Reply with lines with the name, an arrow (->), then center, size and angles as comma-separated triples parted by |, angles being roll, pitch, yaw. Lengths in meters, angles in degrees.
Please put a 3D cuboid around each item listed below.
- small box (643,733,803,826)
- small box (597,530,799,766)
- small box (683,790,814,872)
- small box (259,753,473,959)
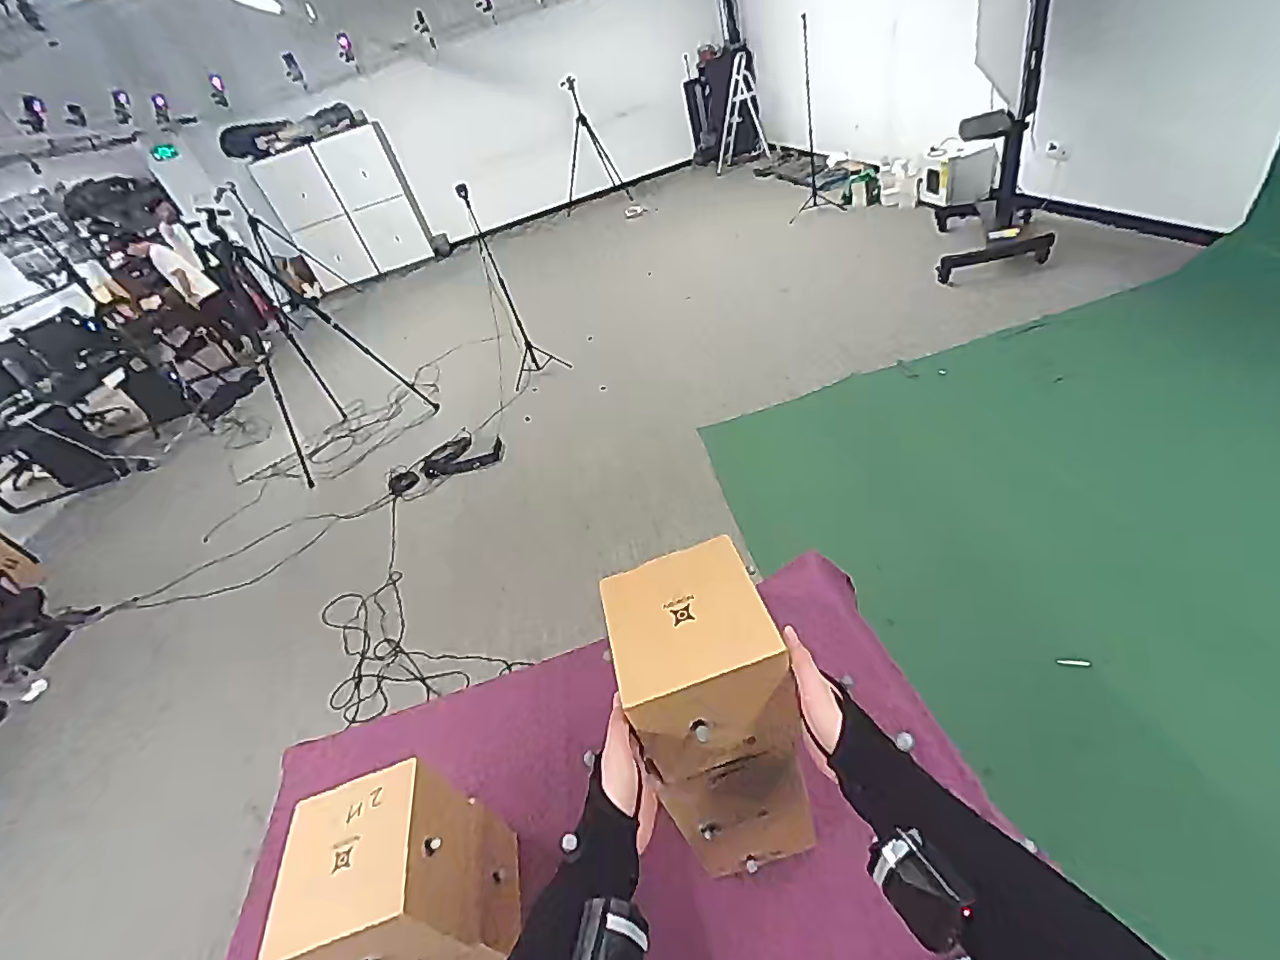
small box -> 0.099, 0.322, 0.709 | 0.168, 0.176, 0.179 | -20, 35, 2
small box -> 0.065, 0.195, 0.615 | 0.168, 0.176, 0.179 | -21, 36, 1
small box -> 0.145, 0.442, 0.809 | 0.168, 0.176, 0.179 | -19, 37, 3
small box -> -0.324, 0.490, 0.686 | 0.168, 0.176, 0.179 | -20, 38, -1
